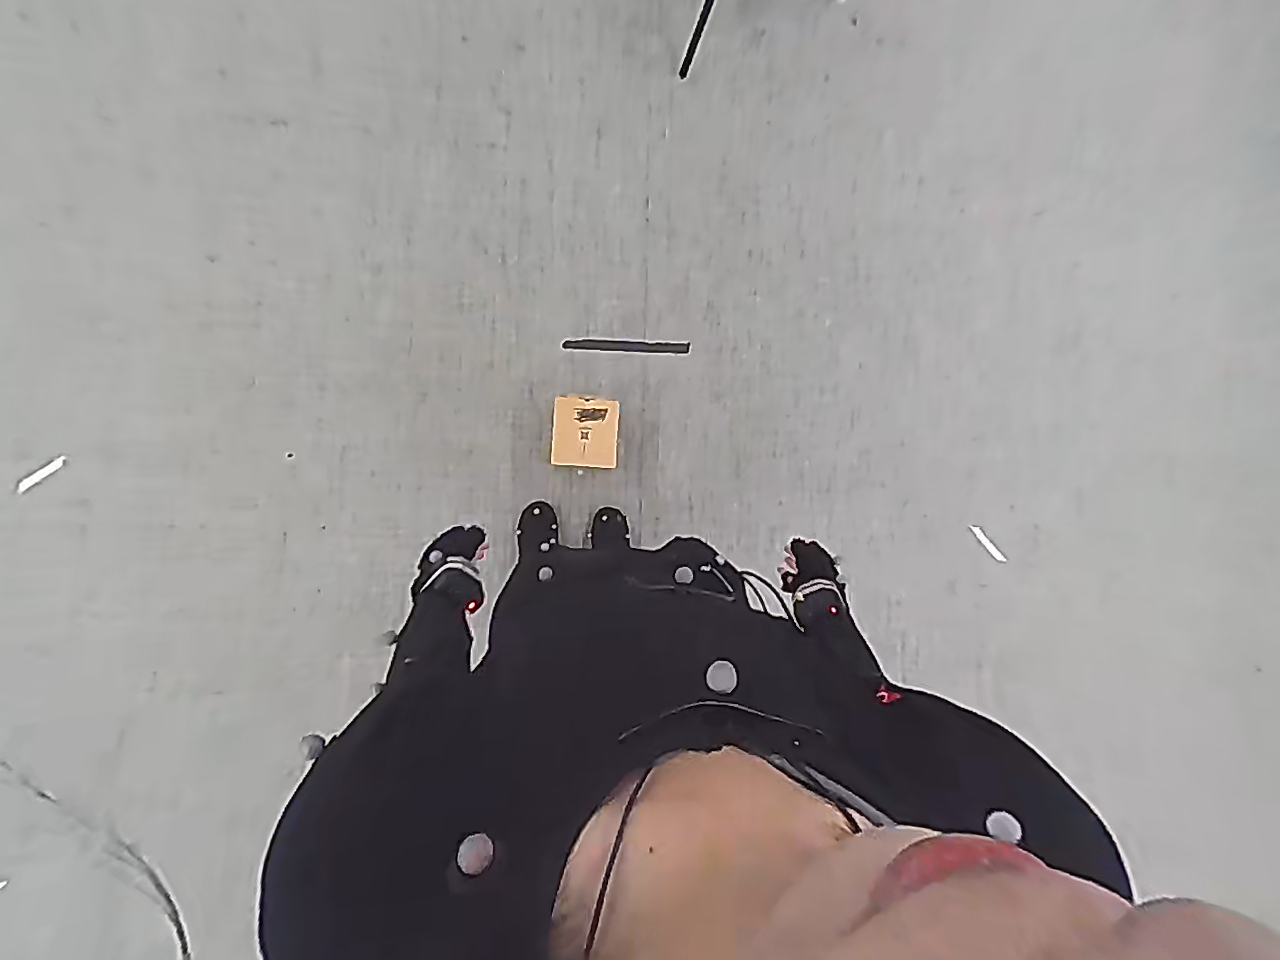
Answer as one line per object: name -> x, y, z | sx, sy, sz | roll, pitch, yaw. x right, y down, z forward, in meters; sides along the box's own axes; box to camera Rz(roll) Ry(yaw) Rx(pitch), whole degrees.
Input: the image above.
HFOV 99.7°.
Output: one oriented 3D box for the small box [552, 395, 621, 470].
small box -> -0.144, -0.121, 1.451 | 0.168, 0.176, 0.179 | 4, 89, -6
